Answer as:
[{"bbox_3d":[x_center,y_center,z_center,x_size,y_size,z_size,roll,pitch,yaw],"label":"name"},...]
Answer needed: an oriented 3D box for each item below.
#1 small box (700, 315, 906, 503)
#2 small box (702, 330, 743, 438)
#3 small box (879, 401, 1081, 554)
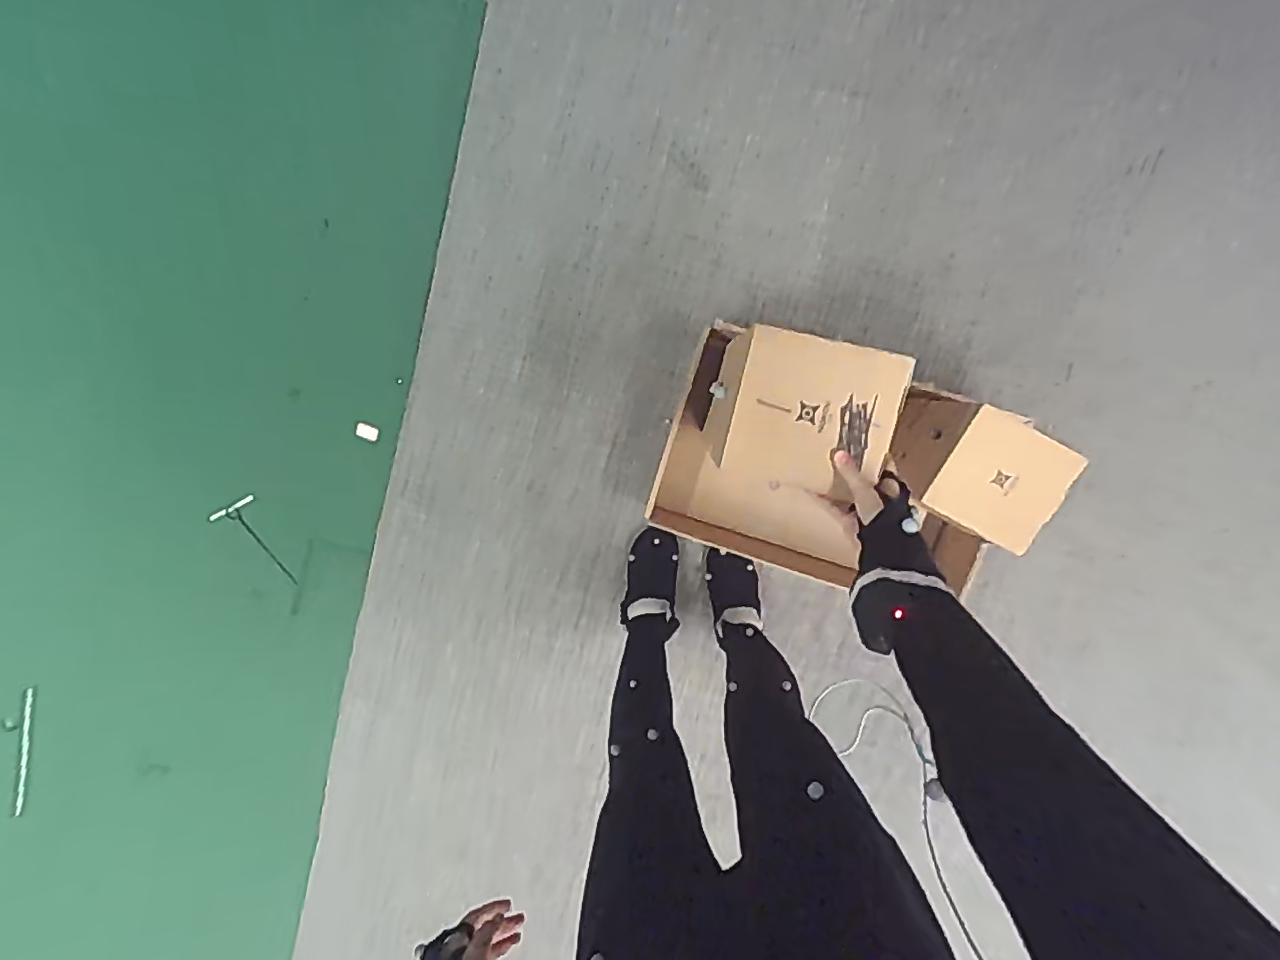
[{"bbox_3d":[0.188,-0.091,0.668,0.179,0.176,0.168,20,103,8],"label":"small box"},{"bbox_3d":[0.196,-0.122,0.853,0.168,0.176,0.179,15,101,2],"label":"small box"},{"bbox_3d":[0.516,-0.013,0.854,0.179,0.176,0.168,29,101,-1],"label":"small box"}]
